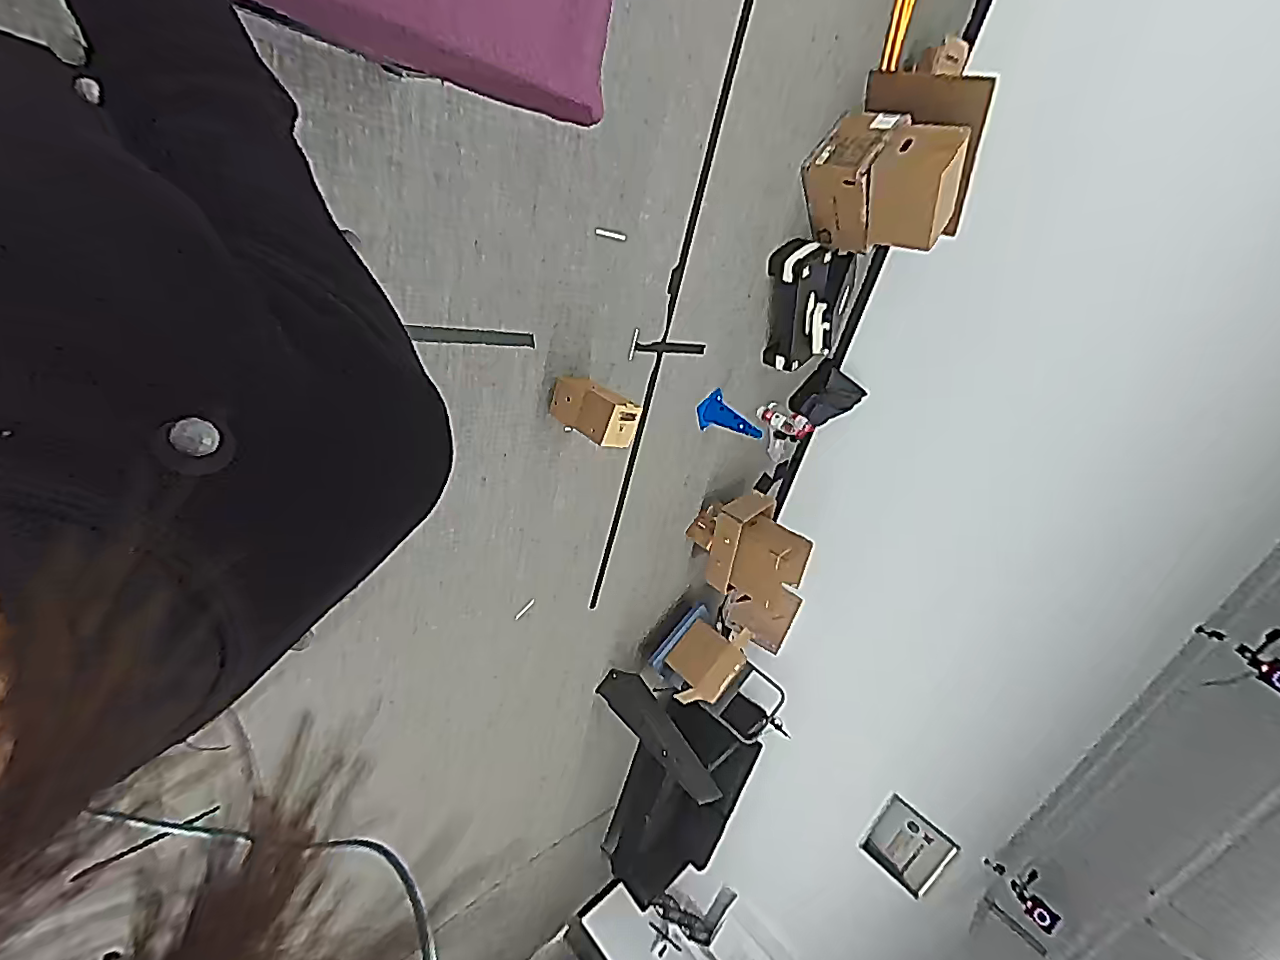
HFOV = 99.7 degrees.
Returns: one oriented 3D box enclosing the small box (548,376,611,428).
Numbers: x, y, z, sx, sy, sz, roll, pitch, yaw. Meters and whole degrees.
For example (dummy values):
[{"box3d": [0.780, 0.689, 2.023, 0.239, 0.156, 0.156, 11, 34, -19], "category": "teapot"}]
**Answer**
[{"box3d": [-0.252, -0.321, 2.215, 0.179, 0.176, 0.168, -9, 124, -48], "category": "small box"}]
